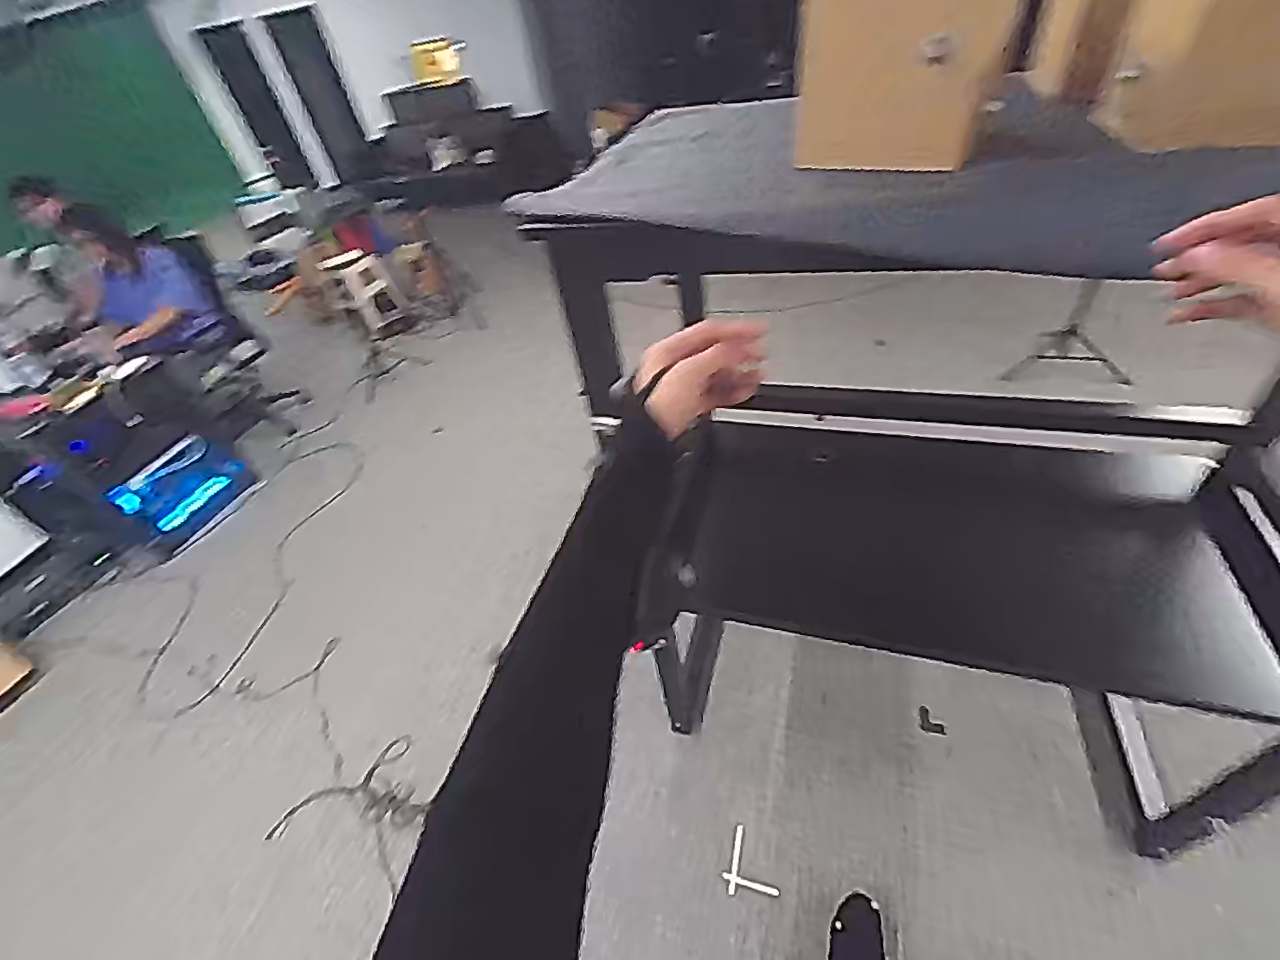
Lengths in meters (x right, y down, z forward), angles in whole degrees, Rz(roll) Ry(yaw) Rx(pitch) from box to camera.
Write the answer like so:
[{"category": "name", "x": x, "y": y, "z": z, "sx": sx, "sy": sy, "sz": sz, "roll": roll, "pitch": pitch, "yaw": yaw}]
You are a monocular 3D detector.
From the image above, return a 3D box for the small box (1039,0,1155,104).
[{"category": "small box", "x": 0.628, "y": -0.586, "z": 0.672, "sx": 0.168, "sy": 0.176, "sz": 0.179, "roll": 6, "pitch": 45, "yaw": 20}]

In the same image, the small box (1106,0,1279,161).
[{"category": "small box", "x": 0.584, "y": -0.412, "z": 0.495, "sx": 0.179, "sy": 0.176, "sz": 0.168, "roll": 6, "pitch": 45, "yaw": 19}]
